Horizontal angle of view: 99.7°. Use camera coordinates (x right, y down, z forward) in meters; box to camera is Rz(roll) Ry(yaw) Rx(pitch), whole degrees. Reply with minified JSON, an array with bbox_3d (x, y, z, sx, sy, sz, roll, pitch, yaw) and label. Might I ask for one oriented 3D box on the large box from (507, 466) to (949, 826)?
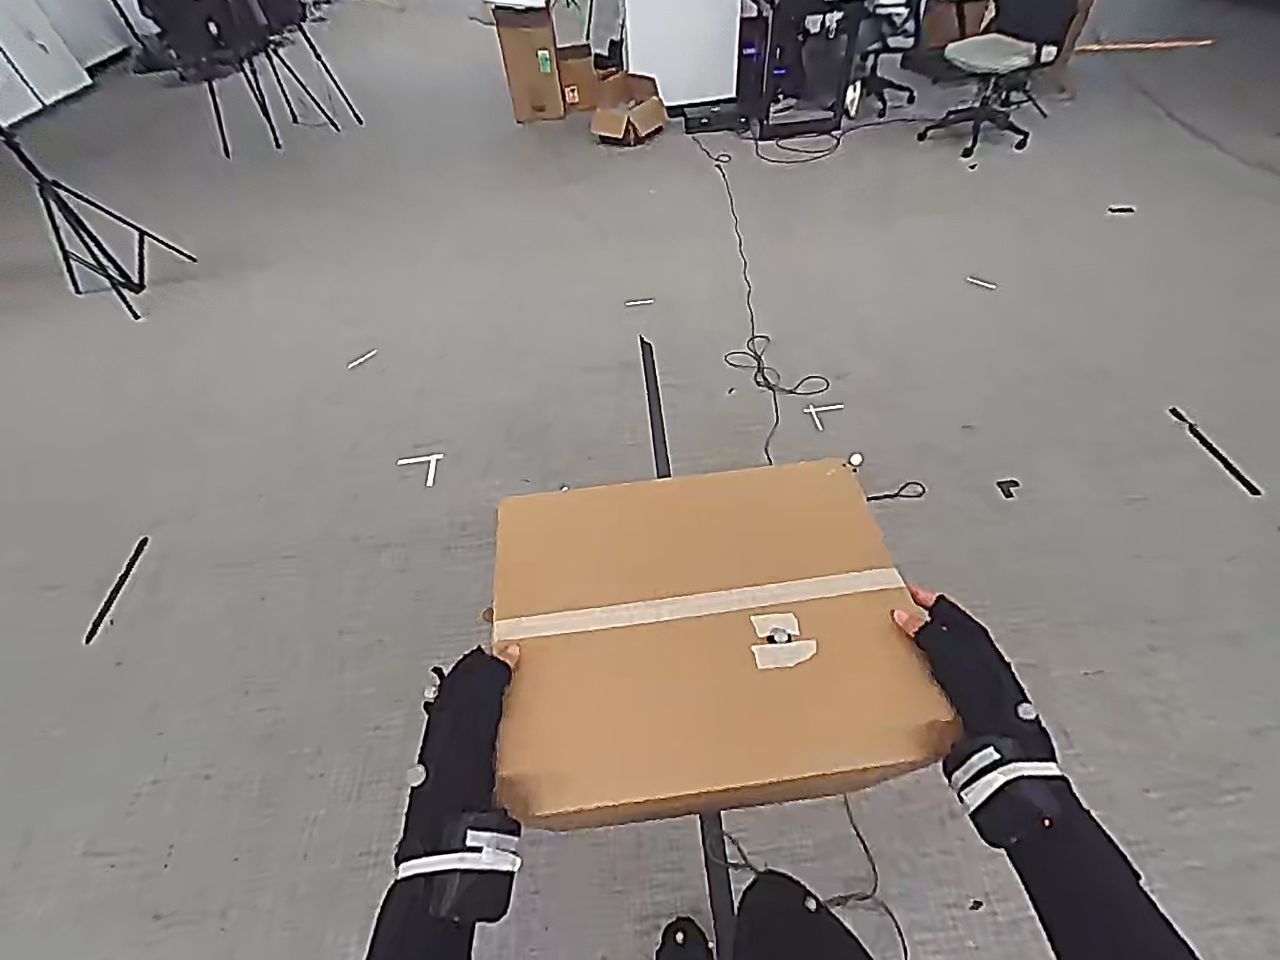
[{"bbox_3d":[0.065,0.216,0.676,0.408,0.320,0.320,-7,56,-3],"label":"large box"}]
